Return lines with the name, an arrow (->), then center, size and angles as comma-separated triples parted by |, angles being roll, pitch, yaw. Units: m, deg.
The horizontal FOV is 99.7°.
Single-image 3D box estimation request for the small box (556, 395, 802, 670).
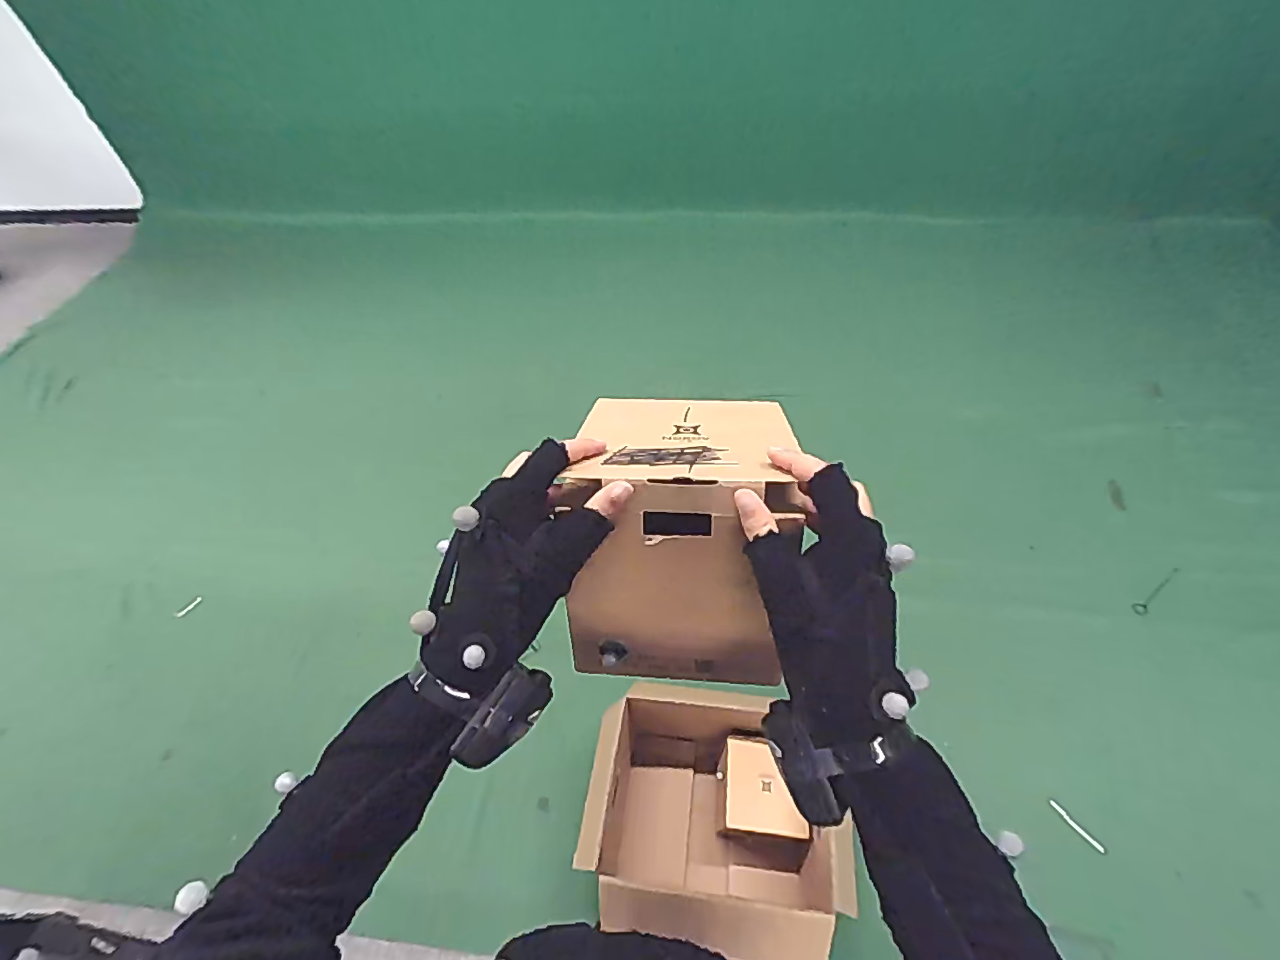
small box -> 0.036, 0.039, 0.463 | 0.168, 0.176, 0.179 | 2, 32, 6
